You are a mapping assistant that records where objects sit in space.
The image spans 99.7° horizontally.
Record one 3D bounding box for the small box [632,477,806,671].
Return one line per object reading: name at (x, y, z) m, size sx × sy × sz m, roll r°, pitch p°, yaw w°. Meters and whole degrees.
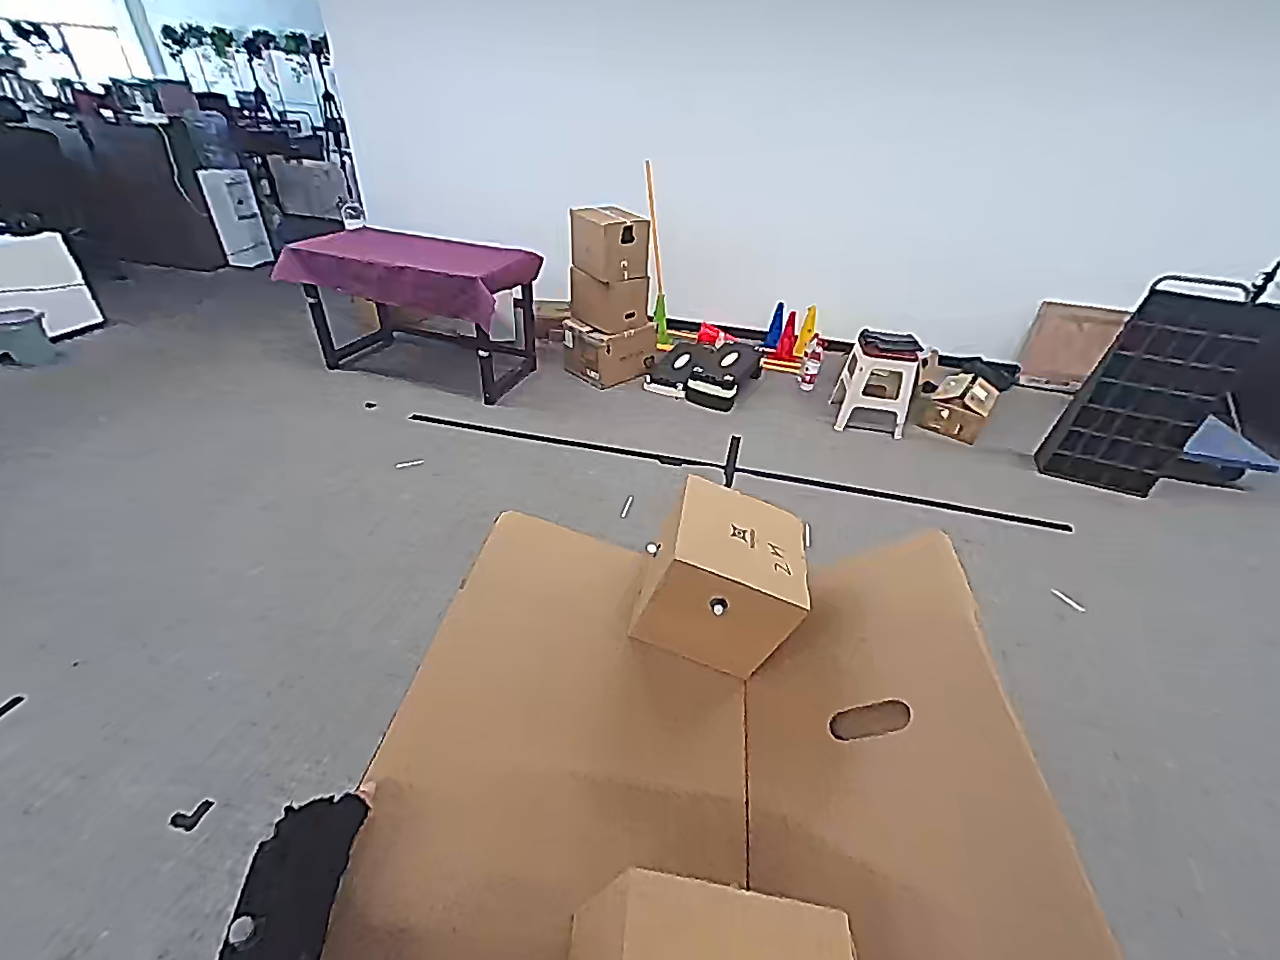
small box at (0.104, 0.131, 0.738) m, size 0.179 × 0.176 × 0.168 m, roll 22°, pitch 39°, yaw -3°
